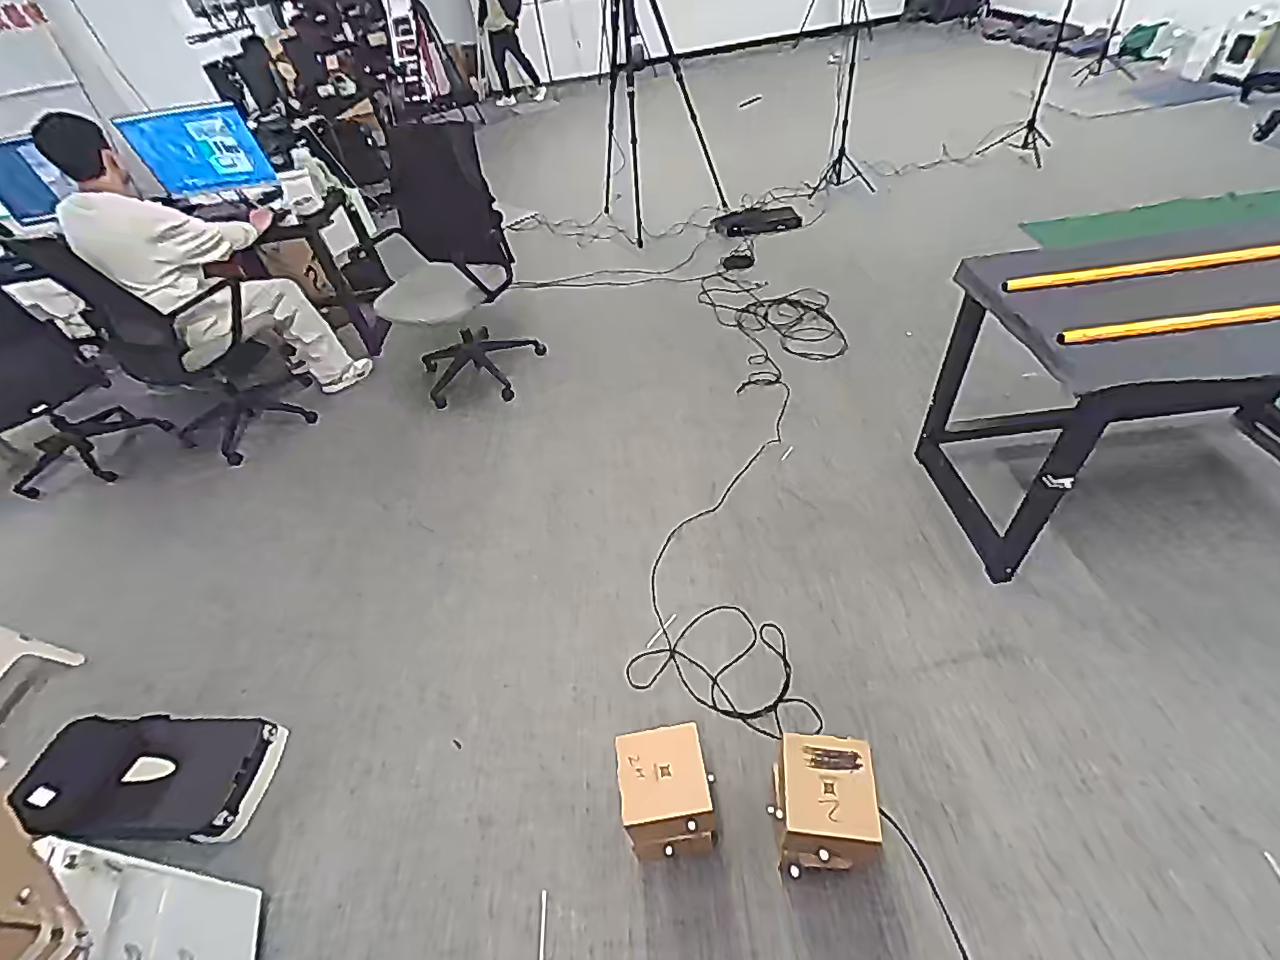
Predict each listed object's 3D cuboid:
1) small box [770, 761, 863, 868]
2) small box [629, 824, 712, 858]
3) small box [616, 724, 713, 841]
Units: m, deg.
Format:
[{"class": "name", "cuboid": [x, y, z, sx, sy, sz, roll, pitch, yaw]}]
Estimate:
[{"class": "small box", "cuboid": [0.382, 0.745, 1.200, 0.168, 0.176, 0.179, -3, 45, 7]}, {"class": "small box", "cuboid": [0.067, 0.754, 1.249, 0.179, 0.176, 0.168, -9, 46, 1]}, {"class": "small box", "cuboid": [0.053, 0.636, 1.134, 0.179, 0.176, 0.168, -11, 46, 1]}]
